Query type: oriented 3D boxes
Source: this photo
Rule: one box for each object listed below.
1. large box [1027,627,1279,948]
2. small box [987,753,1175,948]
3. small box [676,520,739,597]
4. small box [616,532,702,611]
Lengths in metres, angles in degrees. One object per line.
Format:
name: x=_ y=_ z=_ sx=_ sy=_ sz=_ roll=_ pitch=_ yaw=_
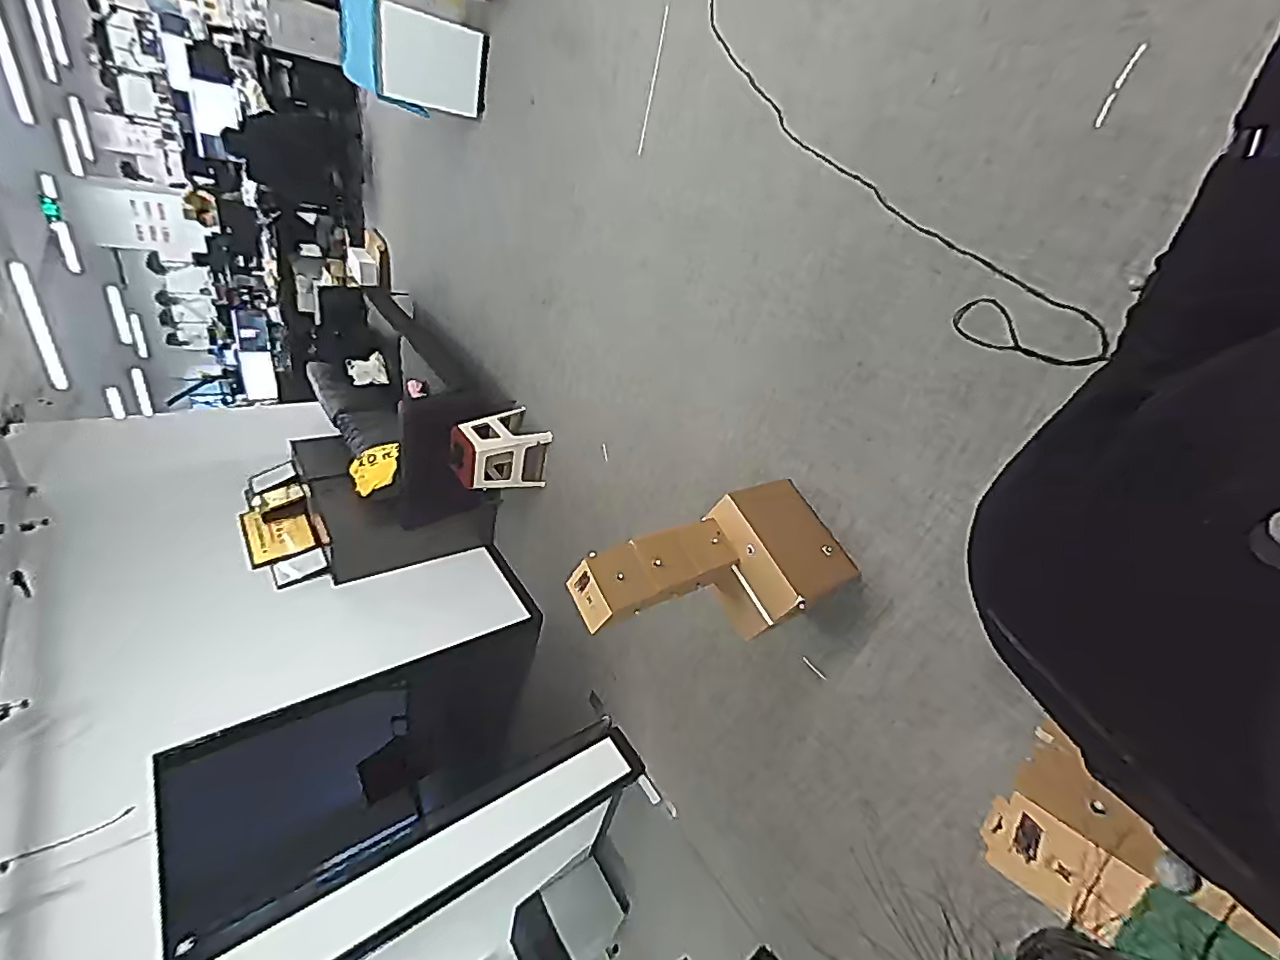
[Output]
large box: x=1.088 y=0.562 z=1.078 sx=0.408 sy=0.320 sz=0.320 roll=28 pitch=122 yaw=44
small box: x=0.717 y=0.584 z=0.884 sx=0.179 sy=0.176 sz=0.168 roll=28 pitch=121 yaw=44
small box: x=0.191 y=0.252 z=1.758 sx=0.168 sy=0.176 sz=0.179 roll=59 pitch=141 yaw=23
small box: x=0.058 y=0.274 z=1.667 sx=0.179 sy=0.176 sz=0.168 roll=60 pitch=141 yaw=22
